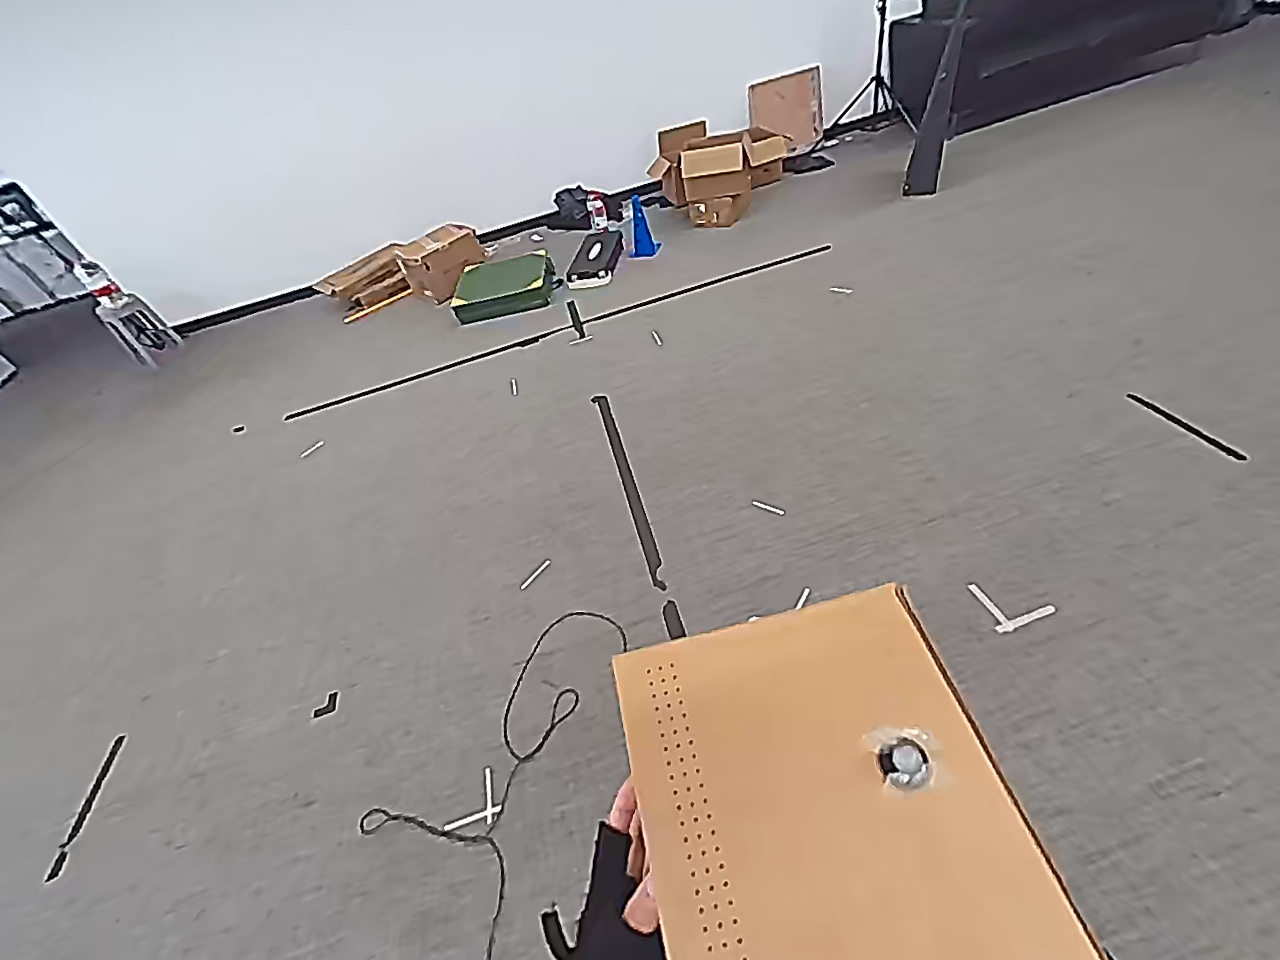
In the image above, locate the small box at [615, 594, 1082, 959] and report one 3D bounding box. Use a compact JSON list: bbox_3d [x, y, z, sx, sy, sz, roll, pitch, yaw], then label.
[{"bbox_3d":[0.089,0.198,0.322,0.176,0.168,0.179,-15,54,0],"label":"small box"}]
